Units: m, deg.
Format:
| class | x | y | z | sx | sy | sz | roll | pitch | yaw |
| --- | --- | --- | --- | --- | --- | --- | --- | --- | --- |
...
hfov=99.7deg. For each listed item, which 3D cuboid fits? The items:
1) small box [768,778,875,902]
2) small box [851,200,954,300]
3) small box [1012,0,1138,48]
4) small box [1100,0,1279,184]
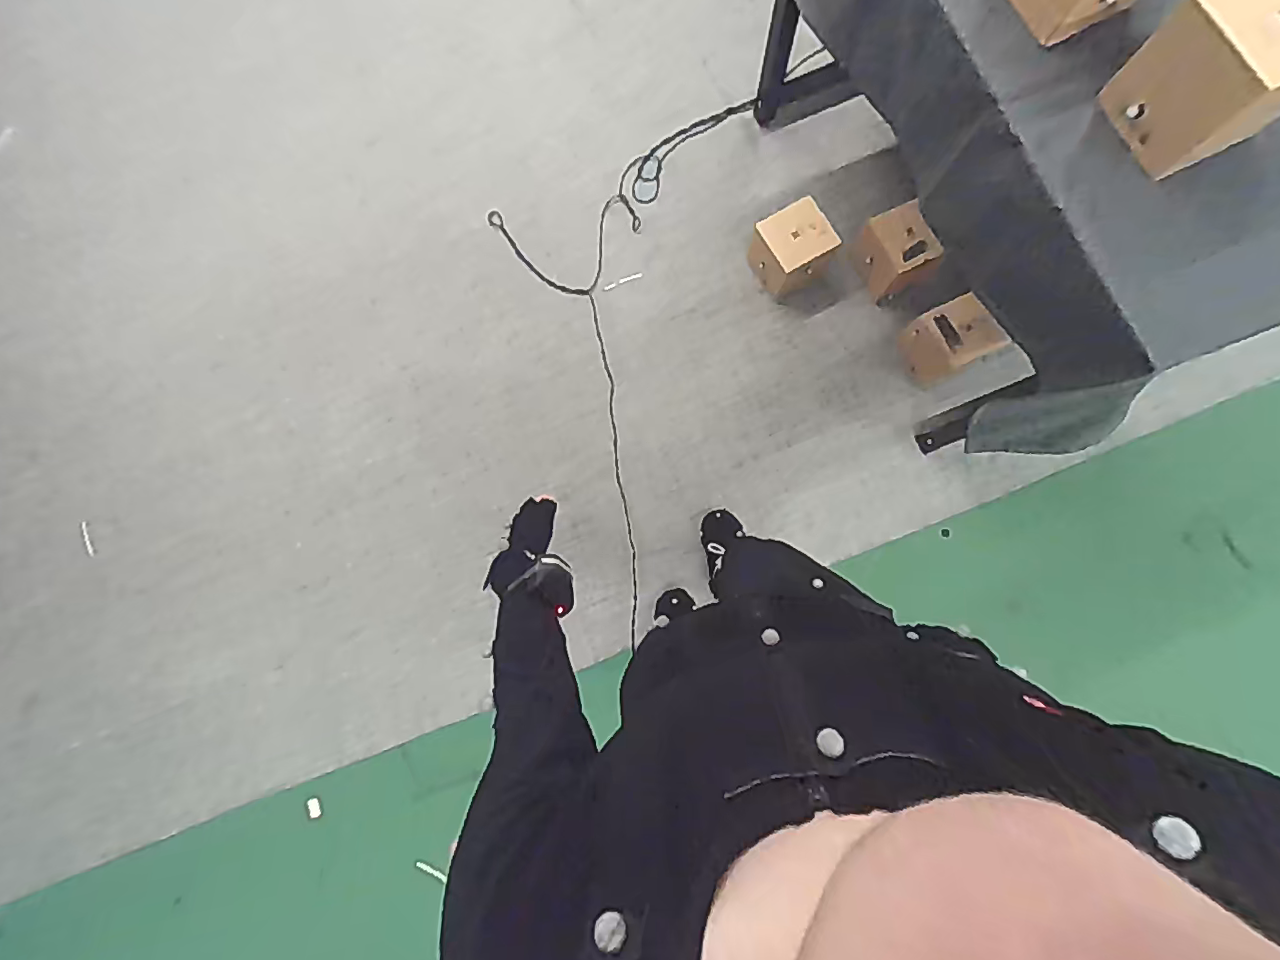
| class | x | y | z | sx | sy | sz | roll | pitch | yaw |
| --- | --- | --- | --- | --- | --- | --- | --- | --- | --- |
| small box | 0.429 | 0.856 | 1.312 | 0.168 | 0.176 | 0.179 | -23 | 81 | -1 |
| small box | 0.720 | -0.625 | 1.501 | 0.168 | 0.176 | 0.179 | -24 | 80 | -1 |
| small box | 0.674 | -0.803 | 0.796 | 0.168 | 0.176 | 0.179 | -27 | 82 | -2 |
| small box | 0.817 | -0.562 | 0.755 | 0.179 | 0.176 | 0.168 | -25 | 81 | -1 |
